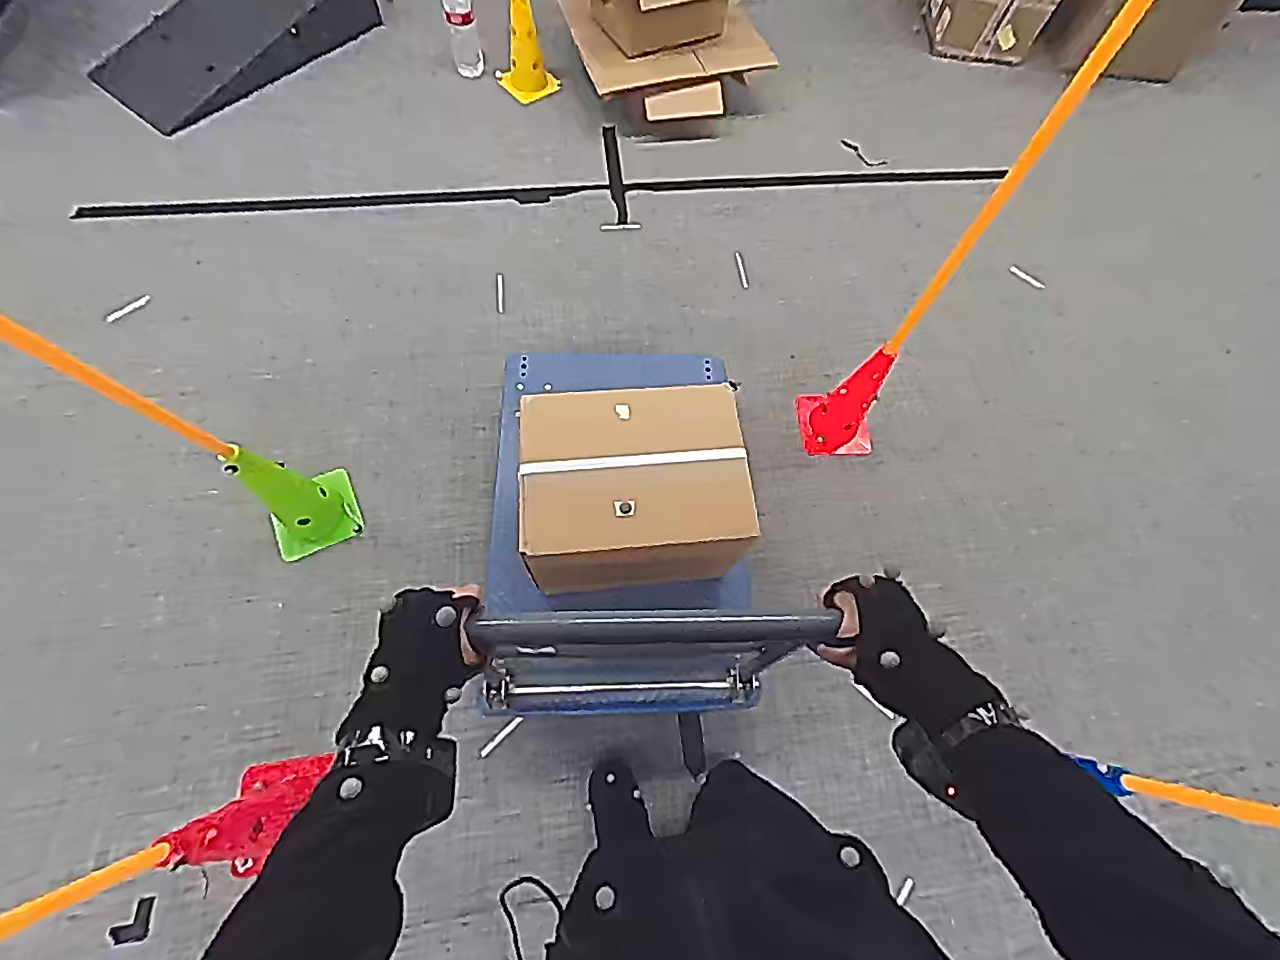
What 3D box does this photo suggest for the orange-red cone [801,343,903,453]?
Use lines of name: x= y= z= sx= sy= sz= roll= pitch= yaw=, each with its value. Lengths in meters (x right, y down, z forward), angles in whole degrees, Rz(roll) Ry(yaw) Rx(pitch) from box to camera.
orange-red cone: x=0.586 y=-0.237 z=1.420 sx=0.199 sy=0.360 sz=0.198 roll=1 pitch=67 yaw=-4

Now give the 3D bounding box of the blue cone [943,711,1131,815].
blue cone: x=0.821 y=0.581 z=1.094 sx=0.193 sy=0.380 sz=0.192 roll=-9 pitch=66 yaw=-8
